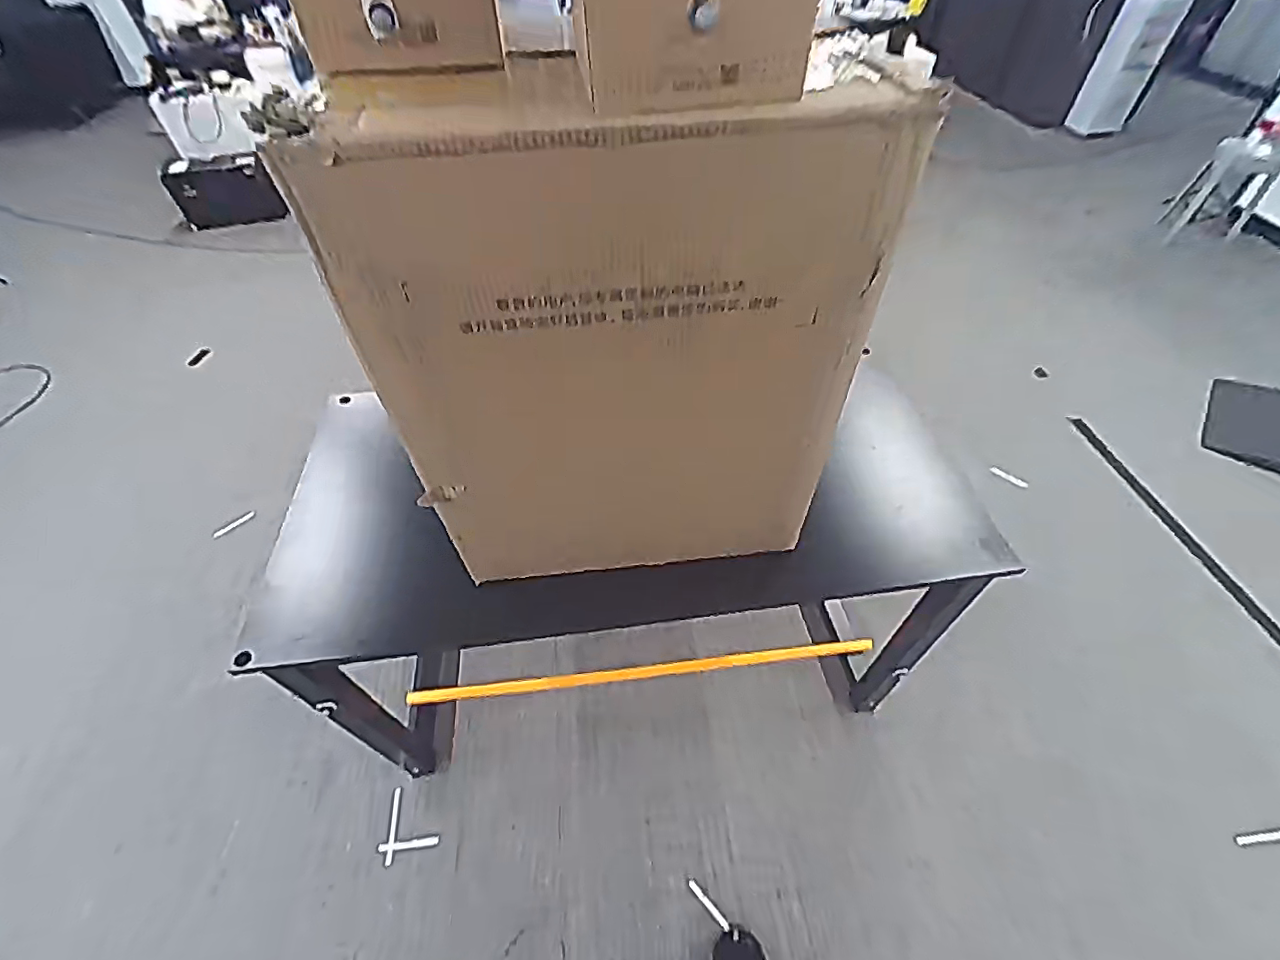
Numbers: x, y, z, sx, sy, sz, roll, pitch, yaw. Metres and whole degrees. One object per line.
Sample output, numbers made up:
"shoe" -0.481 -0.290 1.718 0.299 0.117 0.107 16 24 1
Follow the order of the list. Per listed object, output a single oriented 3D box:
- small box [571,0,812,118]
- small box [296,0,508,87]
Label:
"small box" 0.029 -0.399 0.413 0.168 0.176 0.179 -8 50 -4
"small box" -0.218 -0.473 0.483 0.168 0.176 0.179 -9 50 -6
